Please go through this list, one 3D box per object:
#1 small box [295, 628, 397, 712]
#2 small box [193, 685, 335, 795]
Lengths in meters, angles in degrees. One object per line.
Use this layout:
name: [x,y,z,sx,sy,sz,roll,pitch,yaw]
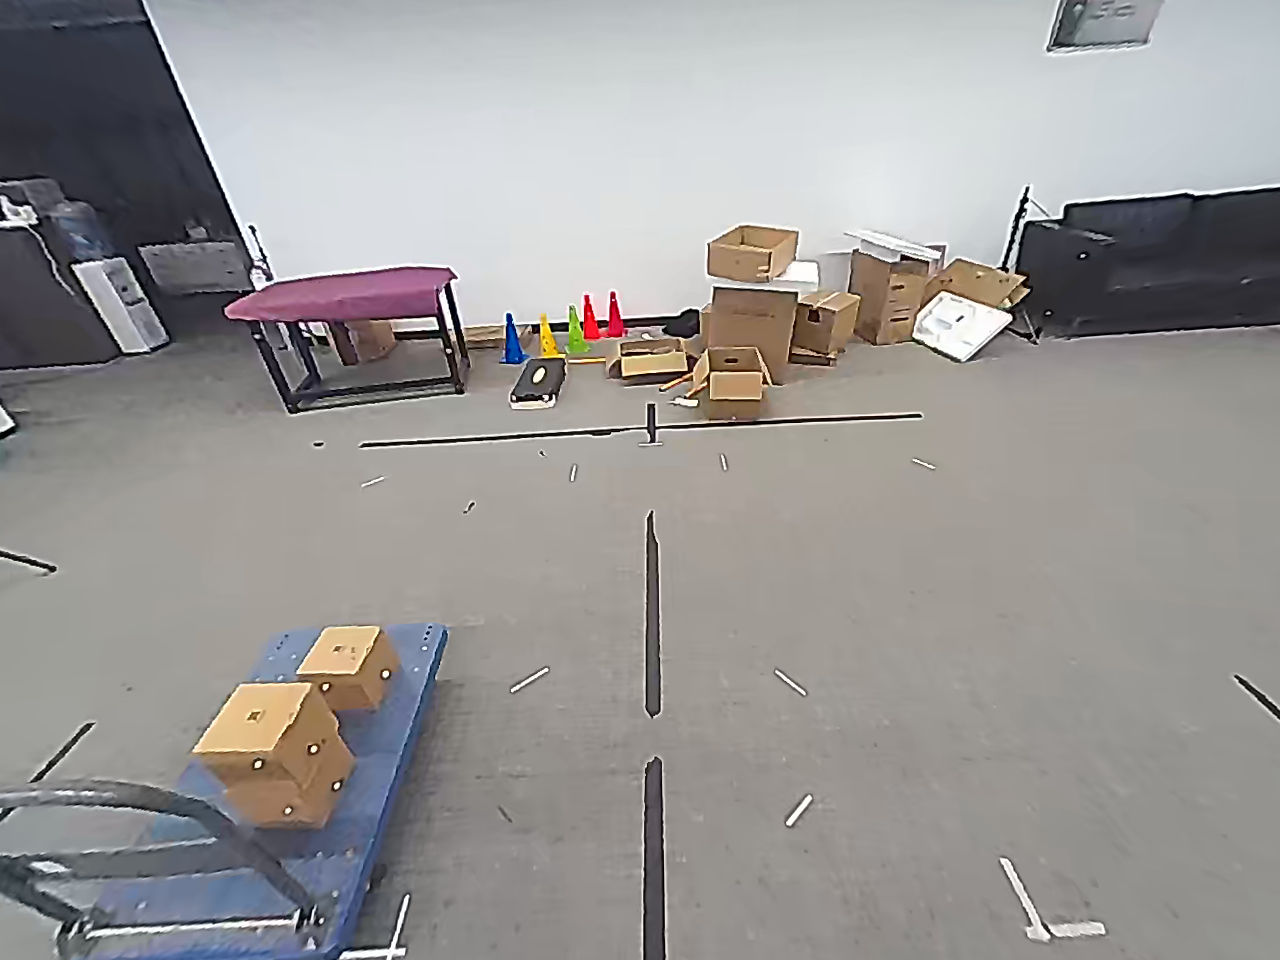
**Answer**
small box: [-0.838,0.549,1.560,0.179,0.176,0.168,-1,34,4]
small box: [-0.829,0.583,1.214,0.179,0.176,0.168,-1,33,1]
